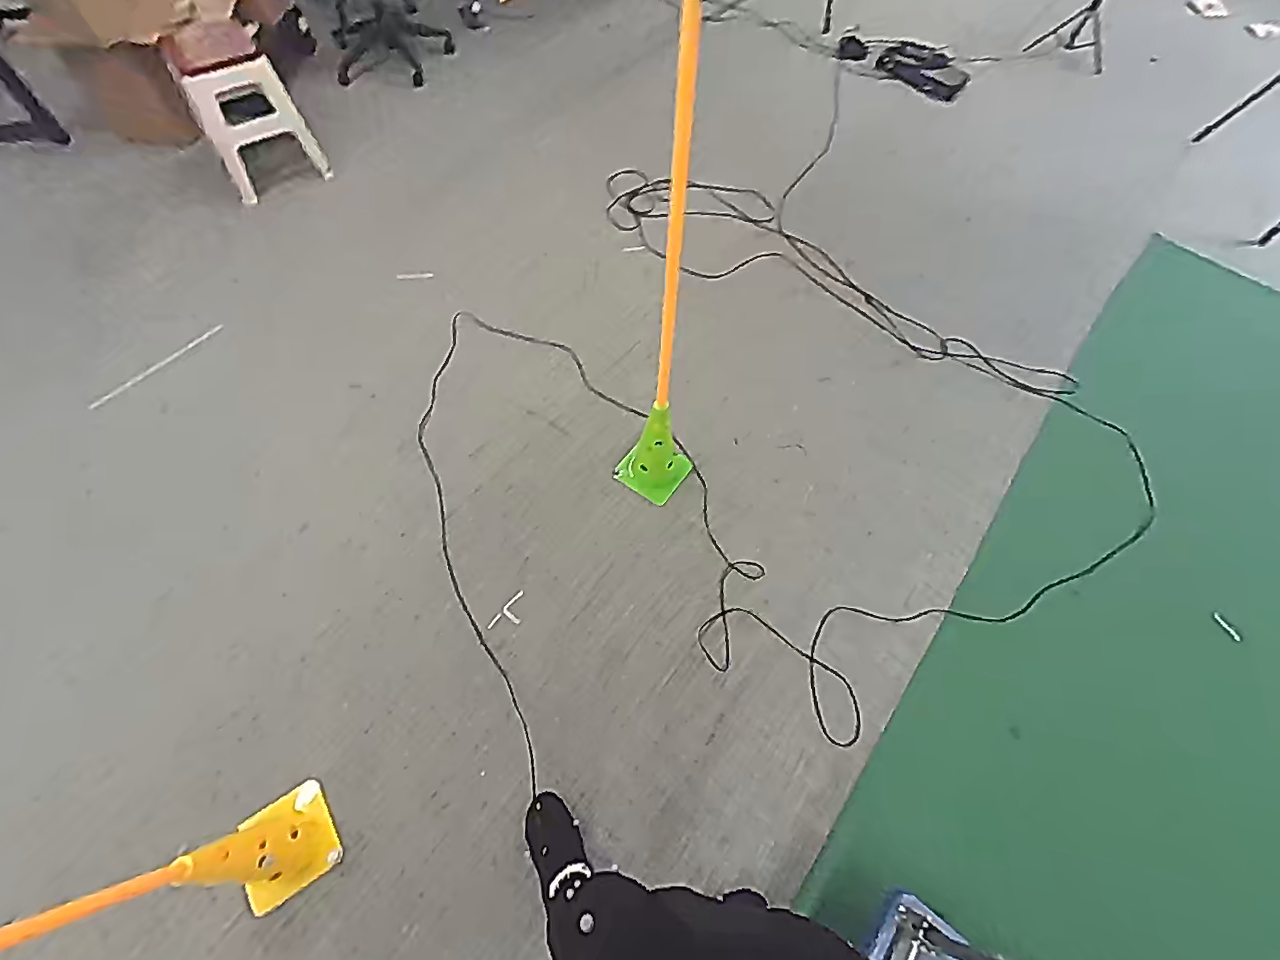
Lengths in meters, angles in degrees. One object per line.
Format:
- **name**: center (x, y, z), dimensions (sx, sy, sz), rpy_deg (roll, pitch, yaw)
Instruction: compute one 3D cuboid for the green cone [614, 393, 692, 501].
- **green cone**: center (0.052, -0.129, 1.605), dimensions (0.200, 0.368, 0.202), rpy_deg (32, 64, 14)
